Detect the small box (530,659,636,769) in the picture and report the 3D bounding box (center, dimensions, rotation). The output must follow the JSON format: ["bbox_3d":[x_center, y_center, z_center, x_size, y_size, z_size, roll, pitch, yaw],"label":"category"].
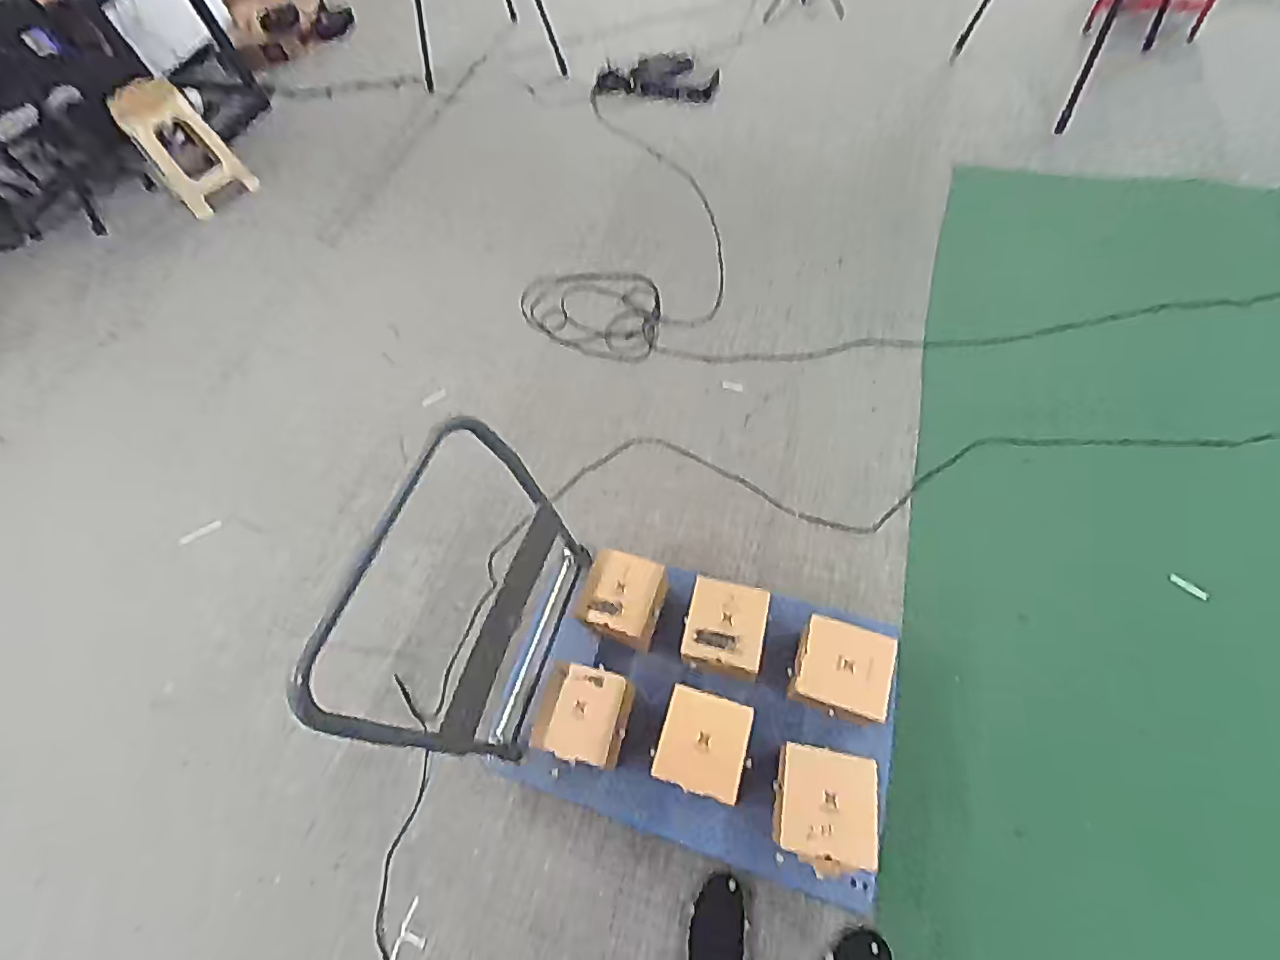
[{"bbox_3d":[-0.114,0.512,1.177,0.168,0.176,0.179,11,63,13],"label":"small box"}]

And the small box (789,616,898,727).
[{"bbox_3d":[0.429,0.417,1.162,0.179,0.176,0.168,16,65,16],"label":"small box"}]

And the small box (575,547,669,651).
[{"bbox_3d":[-0.034,0.289,1.291,0.168,0.176,0.179,15,64,15],"label":"small box"}]

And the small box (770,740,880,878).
[{"bbox_3d":[0.351,0.629,1.049,0.168,0.176,0.179,12,64,17],"label":"small box"}]
